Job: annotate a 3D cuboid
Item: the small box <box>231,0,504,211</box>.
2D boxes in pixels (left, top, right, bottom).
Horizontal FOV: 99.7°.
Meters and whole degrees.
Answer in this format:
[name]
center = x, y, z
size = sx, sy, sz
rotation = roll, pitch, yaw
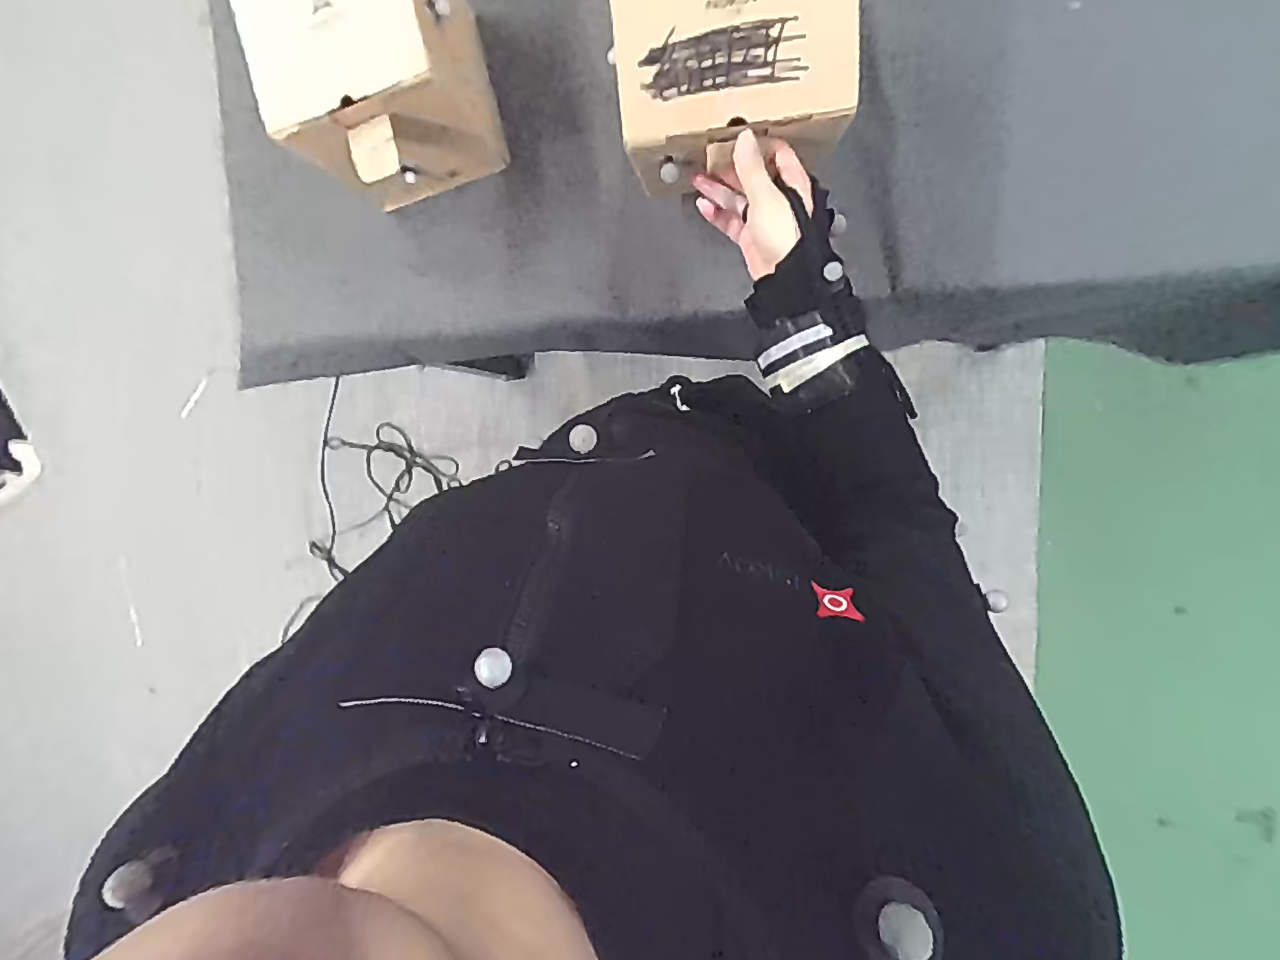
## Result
[small box]
center = -0.259, -0.408, 0.542
size = 0.168, 0.176, 0.179
rotation = -14, 93, 10
